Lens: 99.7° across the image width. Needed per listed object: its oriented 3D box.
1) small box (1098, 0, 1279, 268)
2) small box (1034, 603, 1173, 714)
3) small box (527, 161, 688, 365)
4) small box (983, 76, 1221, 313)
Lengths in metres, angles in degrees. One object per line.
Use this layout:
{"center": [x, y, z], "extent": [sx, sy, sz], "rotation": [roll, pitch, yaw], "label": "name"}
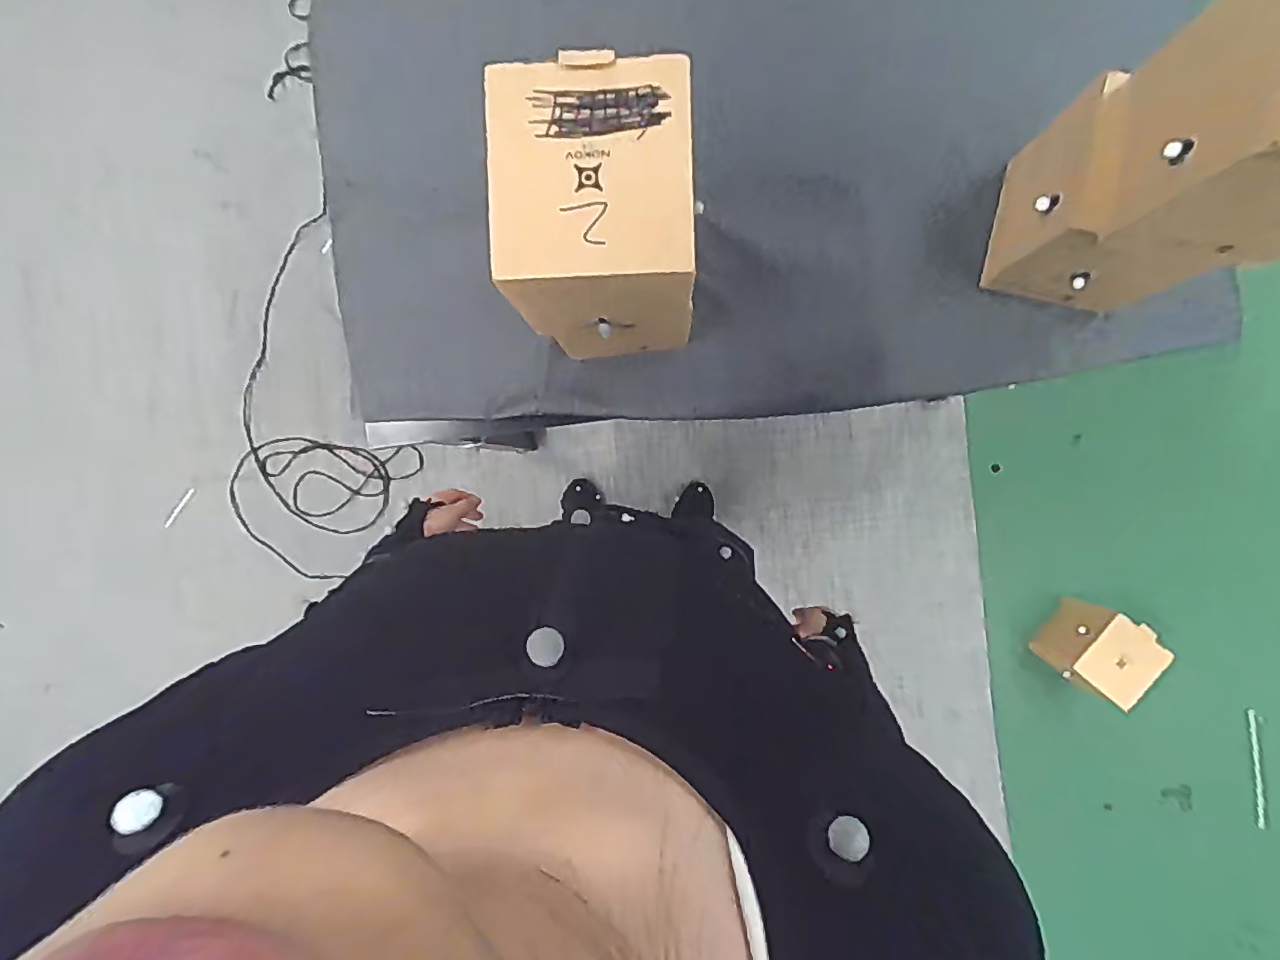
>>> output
{"center": [0.556, -0.309, 0.475], "extent": [0.168, 0.176, 0.179], "rotation": [9, 89, 2], "label": "small box"}
{"center": [1.144, 0.438, 1.356], "extent": [0.168, 0.176, 0.179], "rotation": [39, 92, 2], "label": "small box"}
{"center": [-0.034, -0.255, 0.673], "extent": [0.168, 0.176, 0.179], "rotation": [-7, 89, 3], "label": "small box"}
{"center": [0.544, -0.317, 0.638], "extent": [0.168, 0.176, 0.179], "rotation": [14, 89, 2], "label": "small box"}
